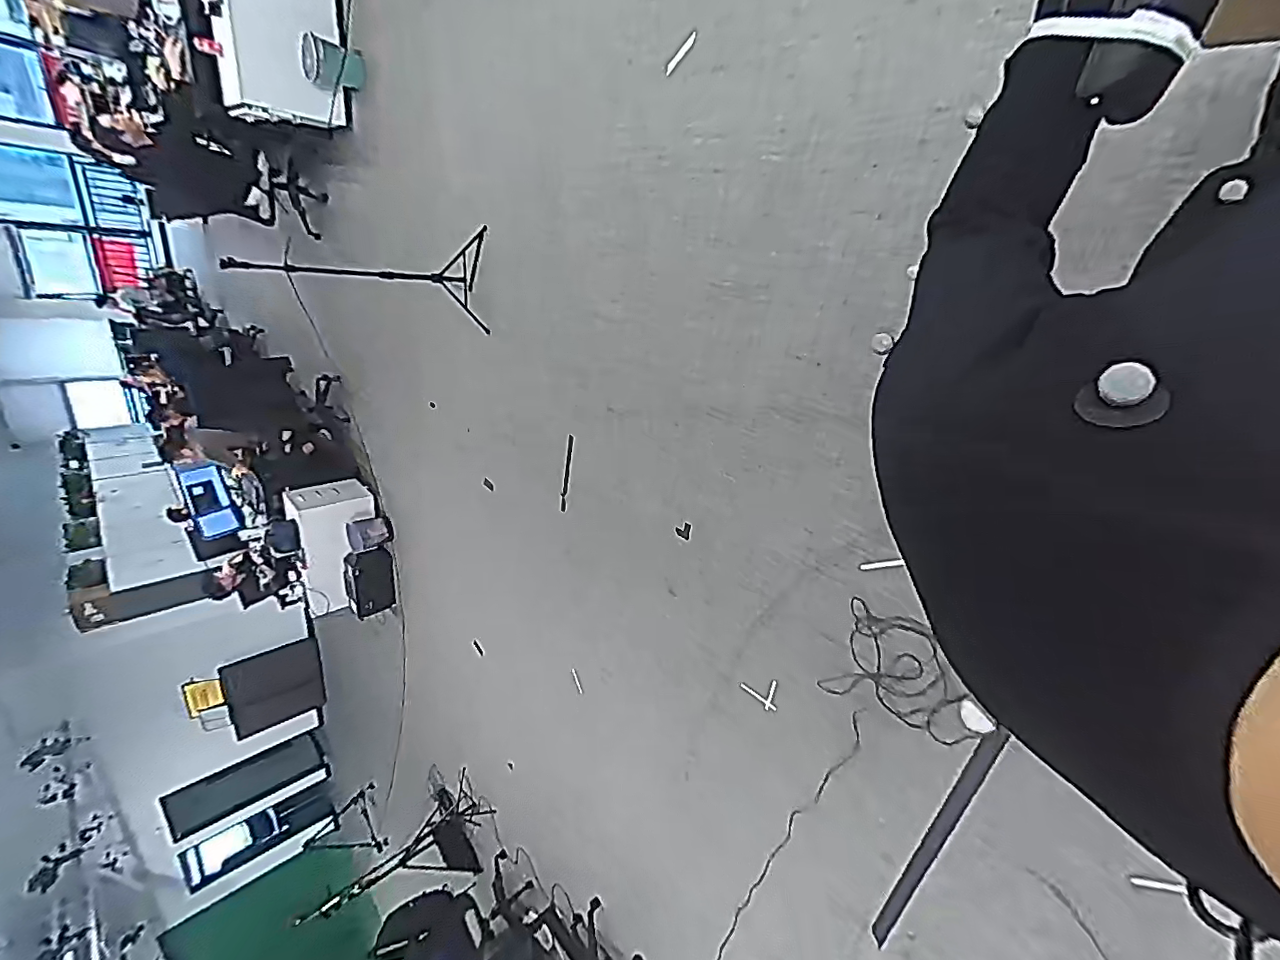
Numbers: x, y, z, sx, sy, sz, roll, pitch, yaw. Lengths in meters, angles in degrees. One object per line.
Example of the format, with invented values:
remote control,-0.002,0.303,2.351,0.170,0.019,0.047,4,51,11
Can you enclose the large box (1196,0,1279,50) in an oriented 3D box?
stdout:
large box,0.583,-0.444,0.243,0.408,0.320,0.320,24,126,37
